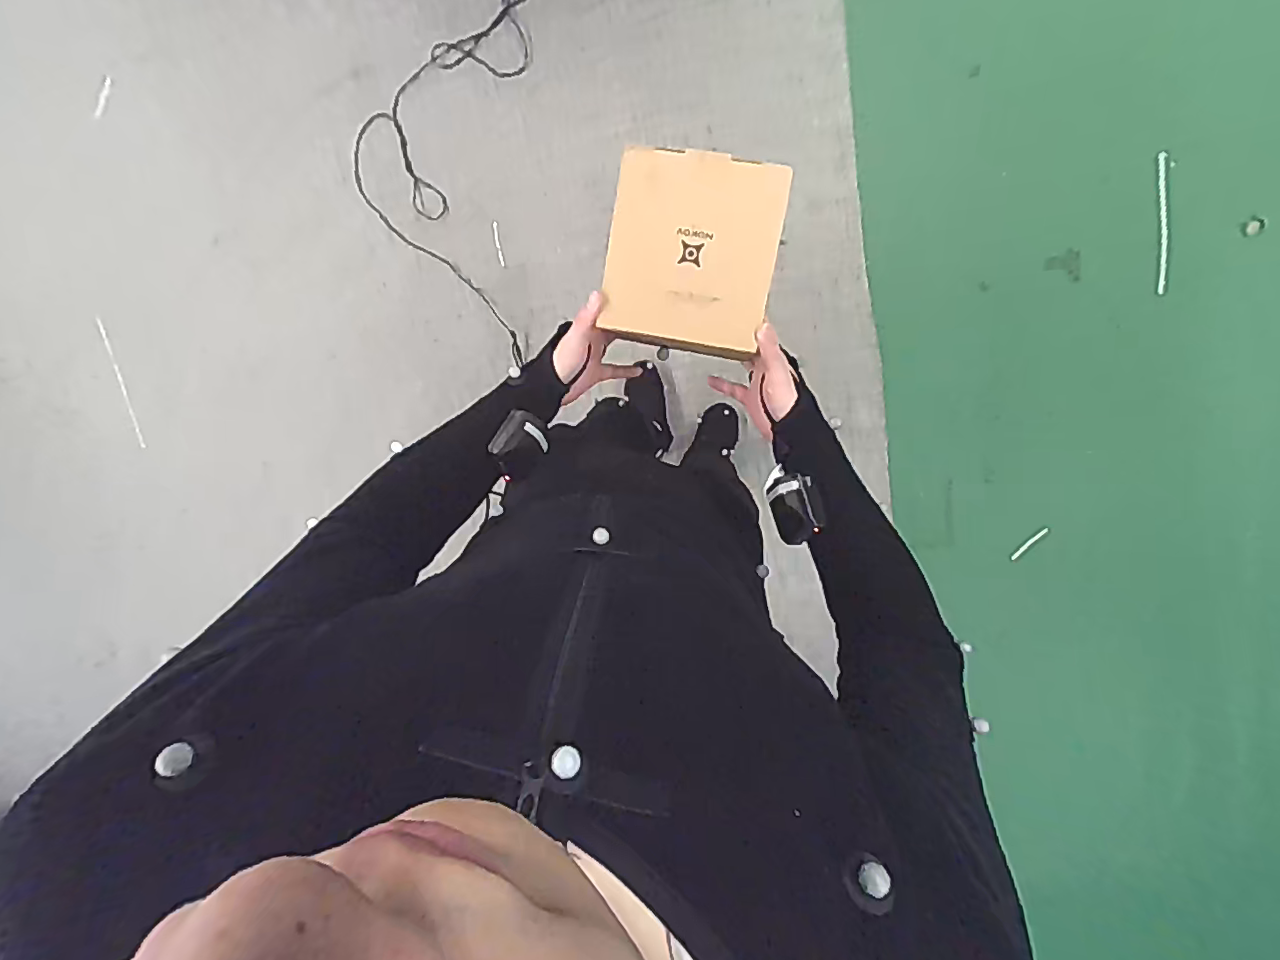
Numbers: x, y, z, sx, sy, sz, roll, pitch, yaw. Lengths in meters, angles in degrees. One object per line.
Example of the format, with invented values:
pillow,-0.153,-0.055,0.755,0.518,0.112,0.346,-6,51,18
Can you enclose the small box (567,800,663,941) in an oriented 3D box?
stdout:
small box,-0.046,0.832,1.163,0.168,0.176,0.179,-4,102,10

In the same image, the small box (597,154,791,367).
small box,0.056,-0.230,0.611,0.168,0.176,0.179,11,102,3

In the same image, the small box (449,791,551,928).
small box,-0.305,0.842,1.212,0.168,0.176,0.179,1,103,10
